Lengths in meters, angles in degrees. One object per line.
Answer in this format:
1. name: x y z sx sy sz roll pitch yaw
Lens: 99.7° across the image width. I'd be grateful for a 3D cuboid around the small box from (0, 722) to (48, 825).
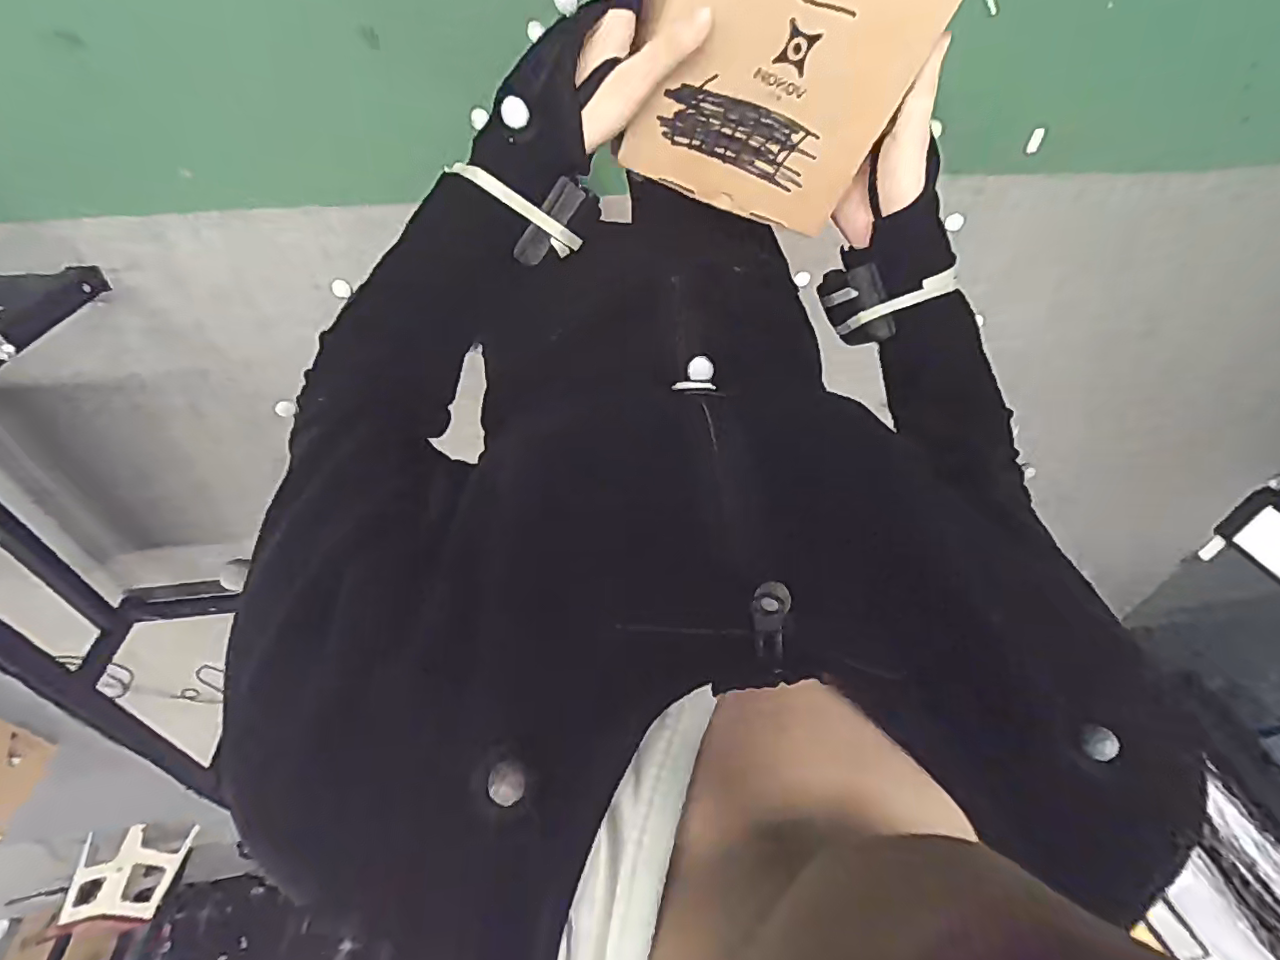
1. small box: -1.277 0.561 0.987 0.179 0.176 0.168 -6 134 -5
